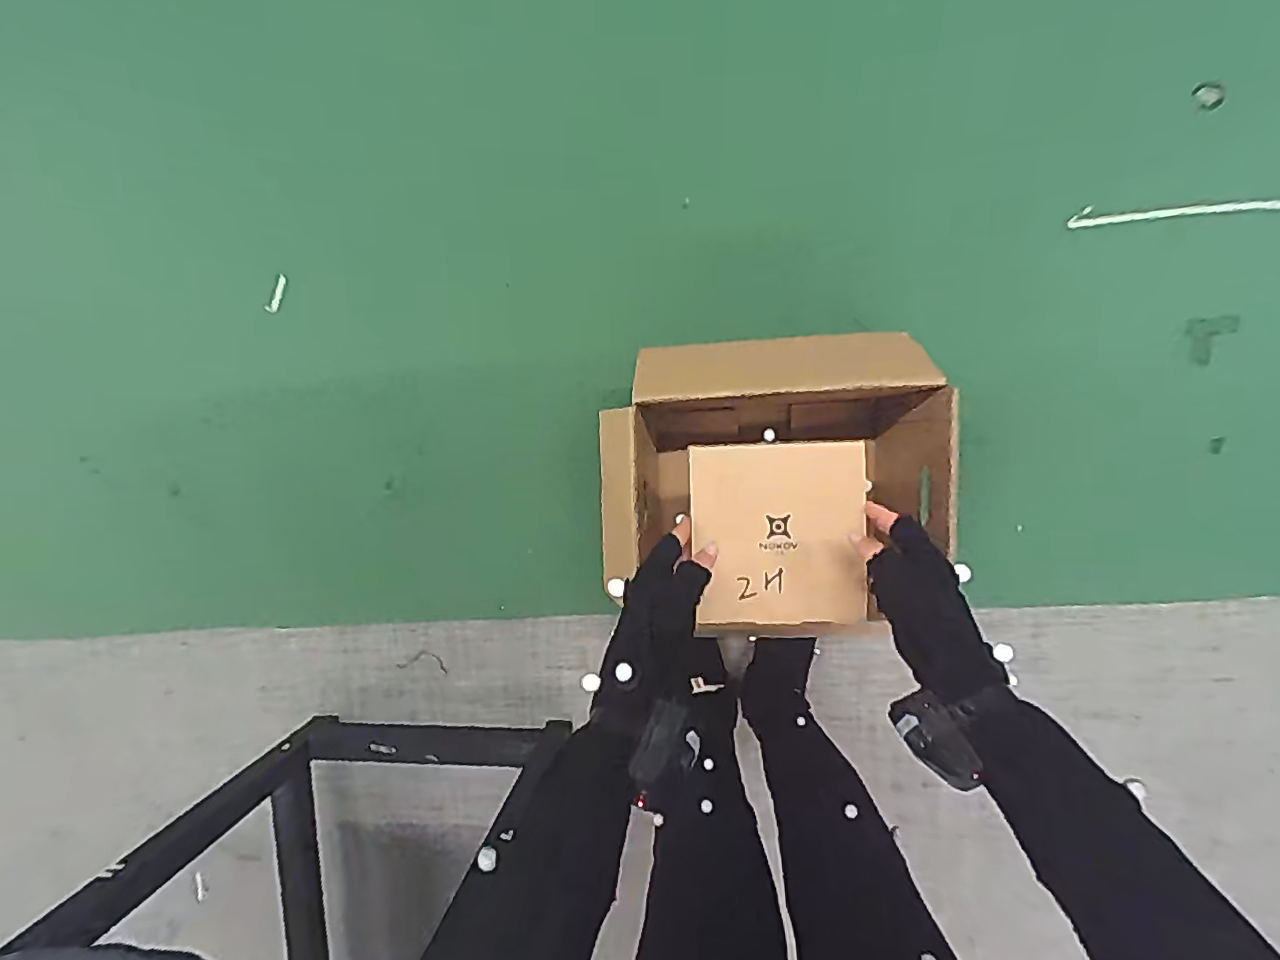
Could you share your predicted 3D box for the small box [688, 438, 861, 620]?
[{"bbox_3d":[0.137,0.045,0.602,0.168,0.176,0.179,-2,94,7],"label":"small box"}]
